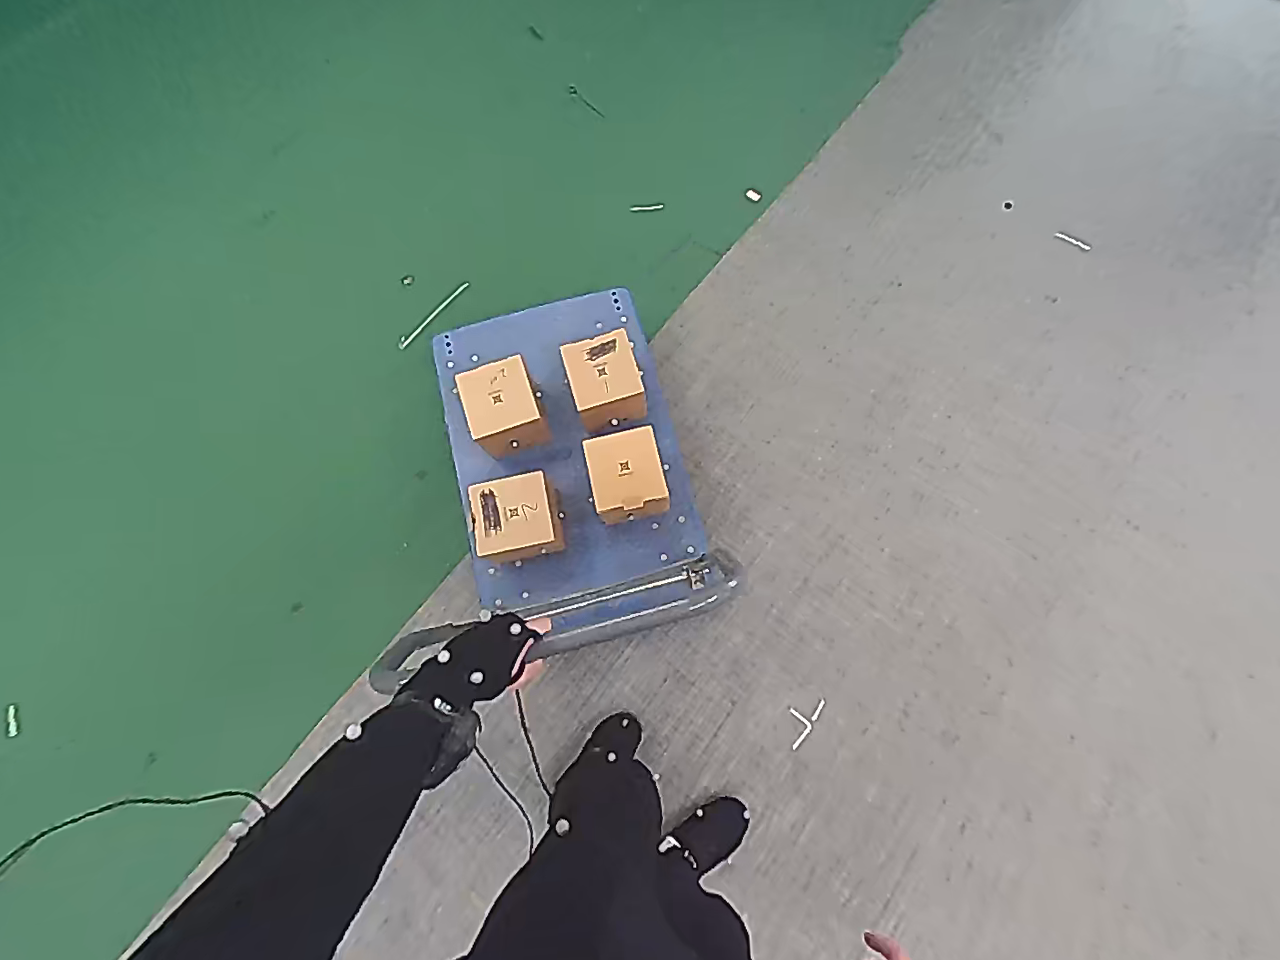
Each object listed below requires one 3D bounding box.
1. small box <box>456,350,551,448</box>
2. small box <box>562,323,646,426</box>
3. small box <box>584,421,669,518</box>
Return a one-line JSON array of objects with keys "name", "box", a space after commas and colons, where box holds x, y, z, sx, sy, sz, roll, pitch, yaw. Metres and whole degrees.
[{"name": "small box", "box": [-0.332, -0.190, 1.344, 0.168, 0.176, 0.179, -18, 77, -3]}, {"name": "small box", "box": [-0.086, -0.256, 1.350, 0.168, 0.176, 0.179, -16, 77, -1]}, {"name": "small box", "box": [-0.030, -0.020, 1.293, 0.168, 0.176, 0.179, -13, 77, -1]}]
